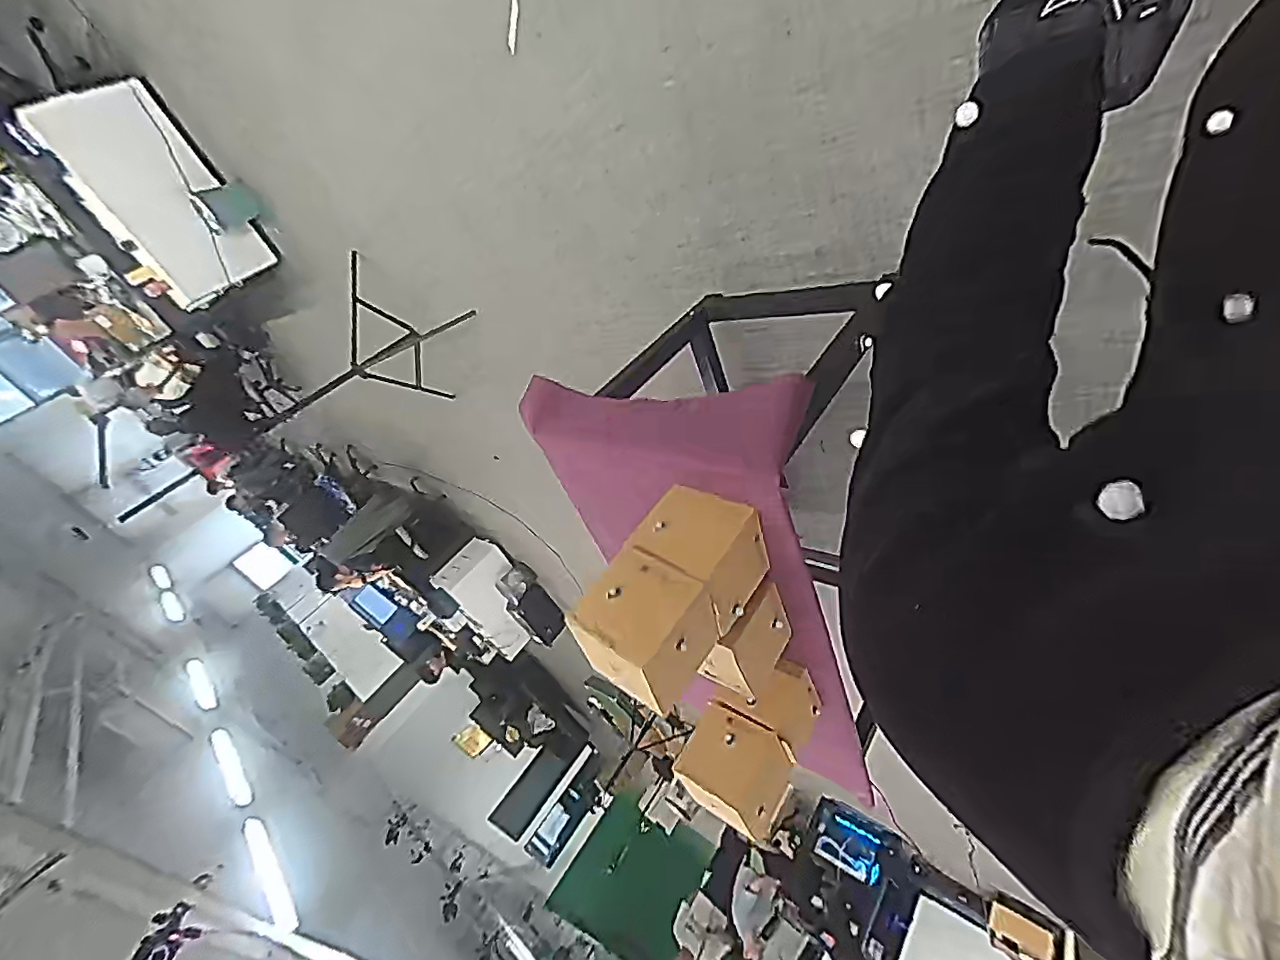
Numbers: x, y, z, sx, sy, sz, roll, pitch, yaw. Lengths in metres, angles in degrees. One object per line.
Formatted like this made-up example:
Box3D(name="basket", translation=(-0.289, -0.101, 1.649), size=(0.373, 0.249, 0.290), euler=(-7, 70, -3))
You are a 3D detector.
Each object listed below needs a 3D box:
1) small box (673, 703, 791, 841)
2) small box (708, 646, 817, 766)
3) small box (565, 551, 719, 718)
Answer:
Box3D(name="small box", translation=(0.206, 0.622, 1.166), size=(0.168, 0.176, 0.179), euler=(10, 138, 42))
Box3D(name="small box", translation=(0.293, 0.516, 1.257), size=(0.179, 0.176, 0.168), euler=(9, 138, 45))
Box3D(name="small box", translation=(0.011, 0.247, 0.891), size=(0.168, 0.176, 0.179), euler=(22, 147, 34))
